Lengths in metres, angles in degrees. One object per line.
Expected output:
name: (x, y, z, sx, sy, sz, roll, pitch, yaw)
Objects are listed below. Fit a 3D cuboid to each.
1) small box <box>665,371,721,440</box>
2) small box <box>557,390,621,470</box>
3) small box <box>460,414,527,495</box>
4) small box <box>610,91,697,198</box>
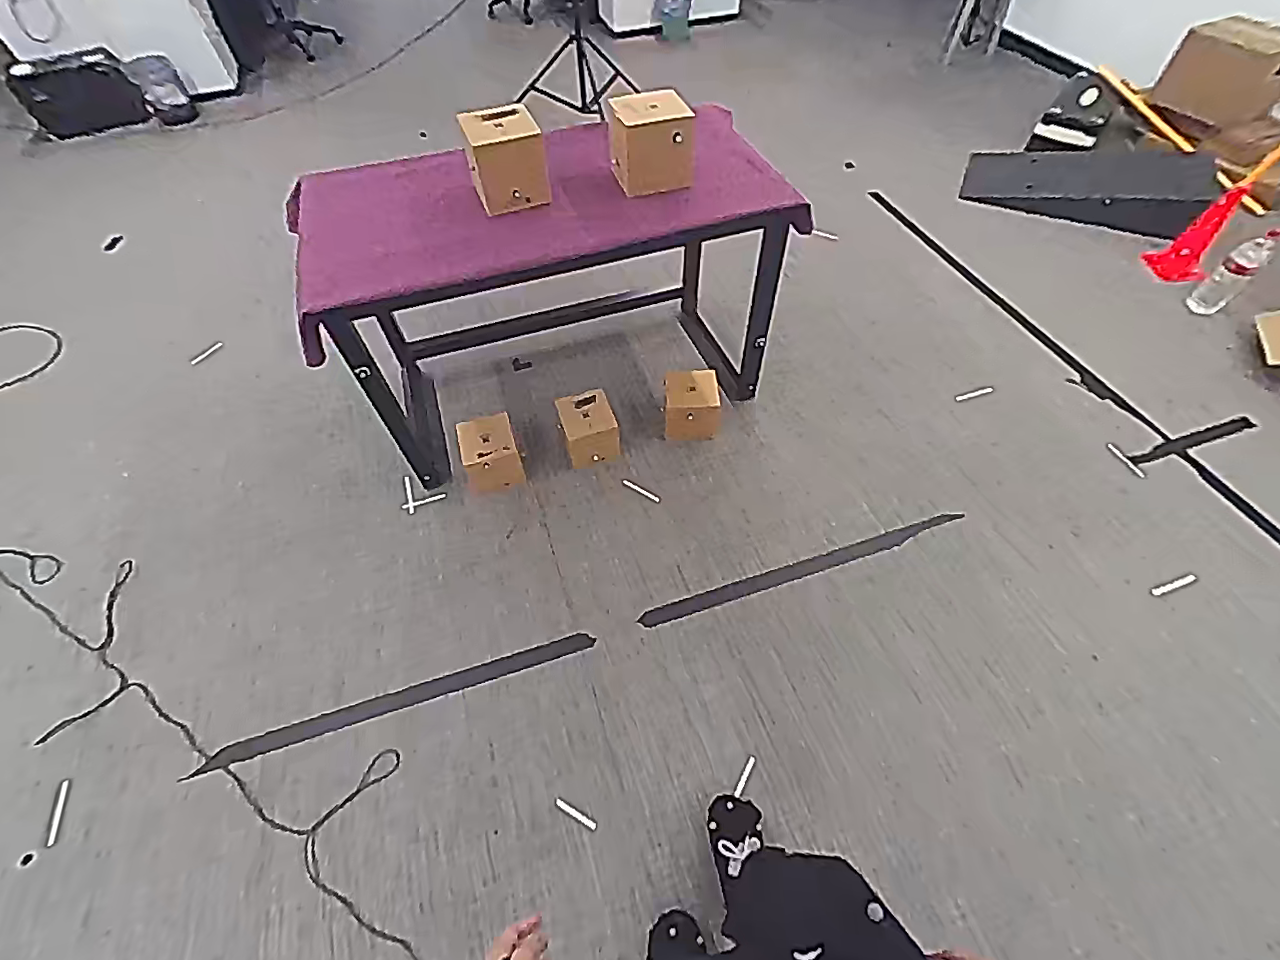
small box: (0.175, -0.249, 1.841, 0.179, 0.176, 0.168, -3, 56, 1)
small box: (-0.168, -0.163, 1.789, 0.168, 0.176, 0.179, -17, 57, -10)
small box: (-0.470, -0.079, 1.742, 0.168, 0.176, 0.179, -15, 55, -9)
small box: (0.031, -0.847, 1.370, 0.179, 0.176, 0.168, -15, 55, -8)
